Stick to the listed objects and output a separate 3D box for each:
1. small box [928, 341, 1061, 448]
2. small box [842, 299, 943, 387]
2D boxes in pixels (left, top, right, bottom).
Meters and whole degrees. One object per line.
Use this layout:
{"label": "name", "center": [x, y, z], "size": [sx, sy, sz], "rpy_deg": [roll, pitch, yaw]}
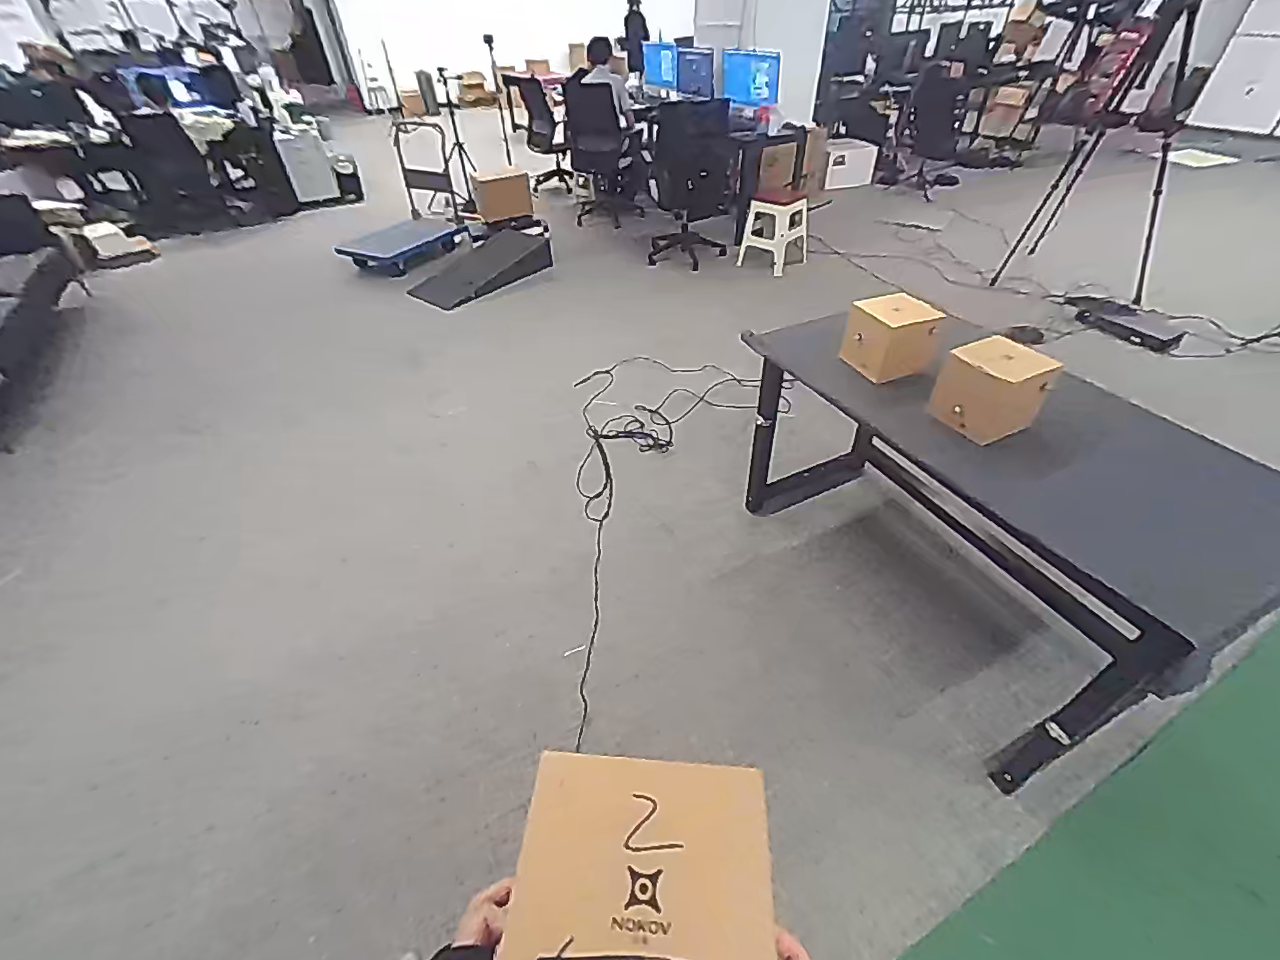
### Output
{"label": "small box", "center": [0.820, -0.200, 1.271], "size": [0.179, 0.176, 0.168], "rpy_deg": [-19, 43, -19]}
{"label": "small box", "center": [0.676, -0.372, 1.474], "size": [0.179, 0.176, 0.168], "rpy_deg": [-15, 43, -16]}
